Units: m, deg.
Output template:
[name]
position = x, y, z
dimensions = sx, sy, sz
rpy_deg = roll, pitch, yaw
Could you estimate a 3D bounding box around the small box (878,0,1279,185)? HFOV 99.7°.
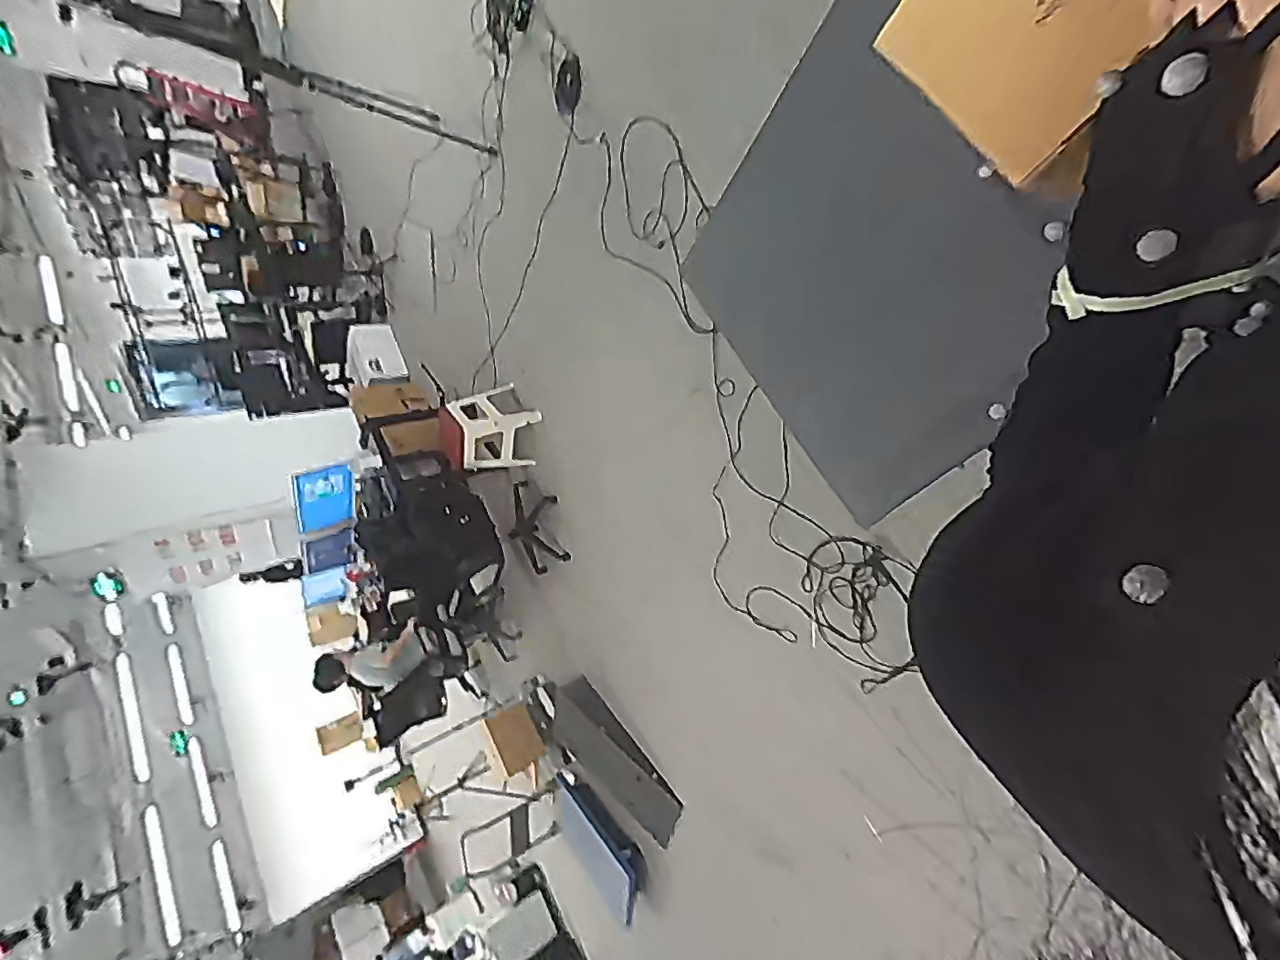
[small box]
position = 0.323, -0.342, 0.391
dimensions = 0.179, 0.176, 0.168
rpy_deg = 60, 141, 18
